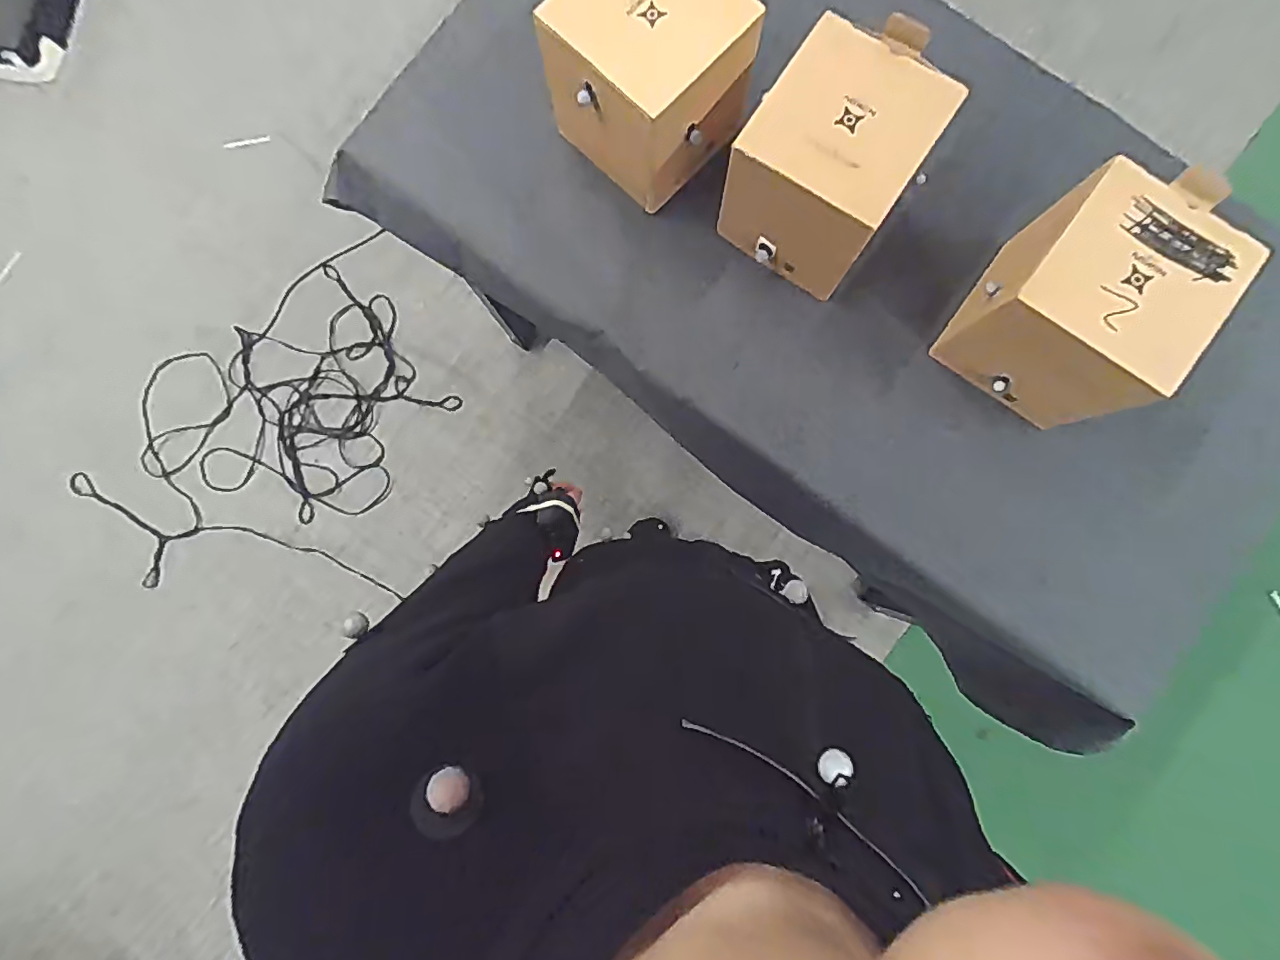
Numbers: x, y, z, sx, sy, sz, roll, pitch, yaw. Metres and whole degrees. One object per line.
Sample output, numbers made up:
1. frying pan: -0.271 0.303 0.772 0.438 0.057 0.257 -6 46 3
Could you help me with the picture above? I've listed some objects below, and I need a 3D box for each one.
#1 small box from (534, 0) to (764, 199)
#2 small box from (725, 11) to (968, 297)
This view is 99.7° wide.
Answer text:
1. small box: 0.011 -0.462 0.621 0.179 0.176 0.168 44 87 5
2. small box: 0.209 -0.345 0.605 0.168 0.176 0.179 33 86 5
